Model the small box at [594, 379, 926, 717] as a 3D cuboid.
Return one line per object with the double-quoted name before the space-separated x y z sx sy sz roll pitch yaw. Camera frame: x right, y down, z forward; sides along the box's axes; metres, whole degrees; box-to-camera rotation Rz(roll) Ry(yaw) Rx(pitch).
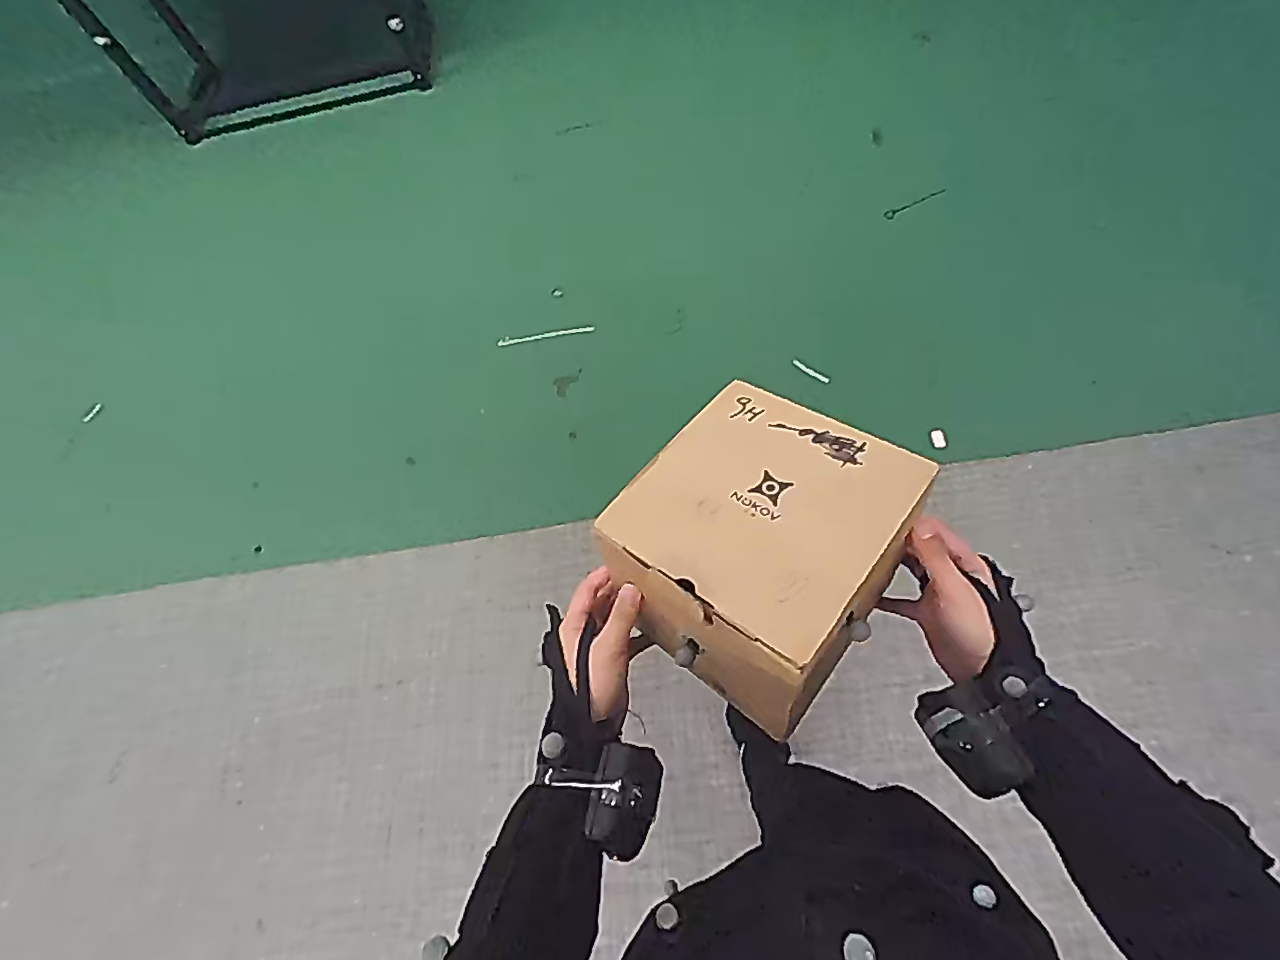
"small box" 0.094 0.057 0.436 0.168 0.176 0.179 31 65 29
